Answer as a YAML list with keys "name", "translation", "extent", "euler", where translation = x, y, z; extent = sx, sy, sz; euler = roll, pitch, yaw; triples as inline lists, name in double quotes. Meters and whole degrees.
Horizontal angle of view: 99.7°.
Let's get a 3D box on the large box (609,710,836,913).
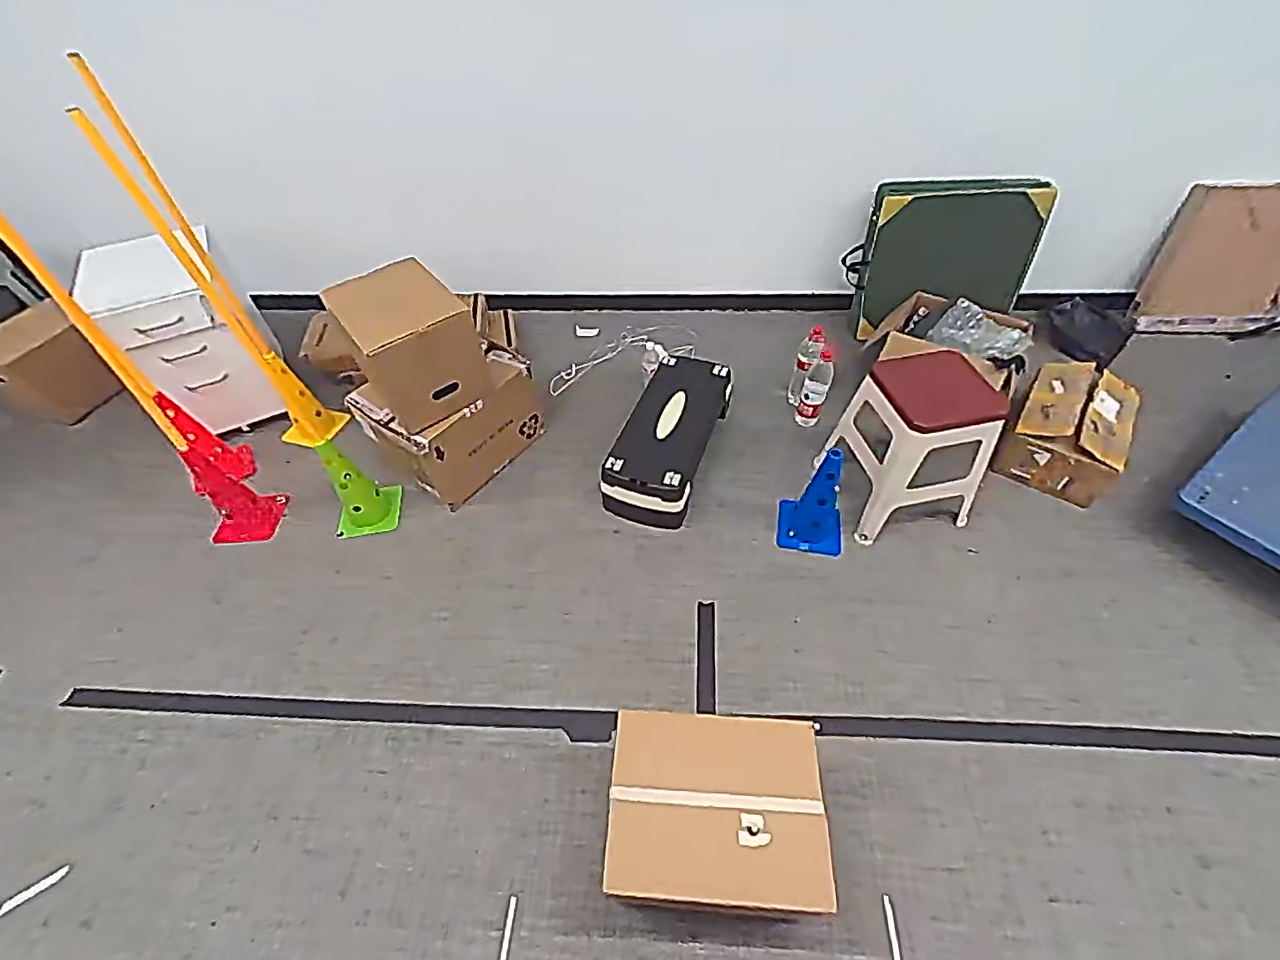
- name: "large box"
  translation: [0.150, 0.706, 1.146]
  extent: [0.408, 0.320, 0.320]
  euler: [2, 50, 3]
